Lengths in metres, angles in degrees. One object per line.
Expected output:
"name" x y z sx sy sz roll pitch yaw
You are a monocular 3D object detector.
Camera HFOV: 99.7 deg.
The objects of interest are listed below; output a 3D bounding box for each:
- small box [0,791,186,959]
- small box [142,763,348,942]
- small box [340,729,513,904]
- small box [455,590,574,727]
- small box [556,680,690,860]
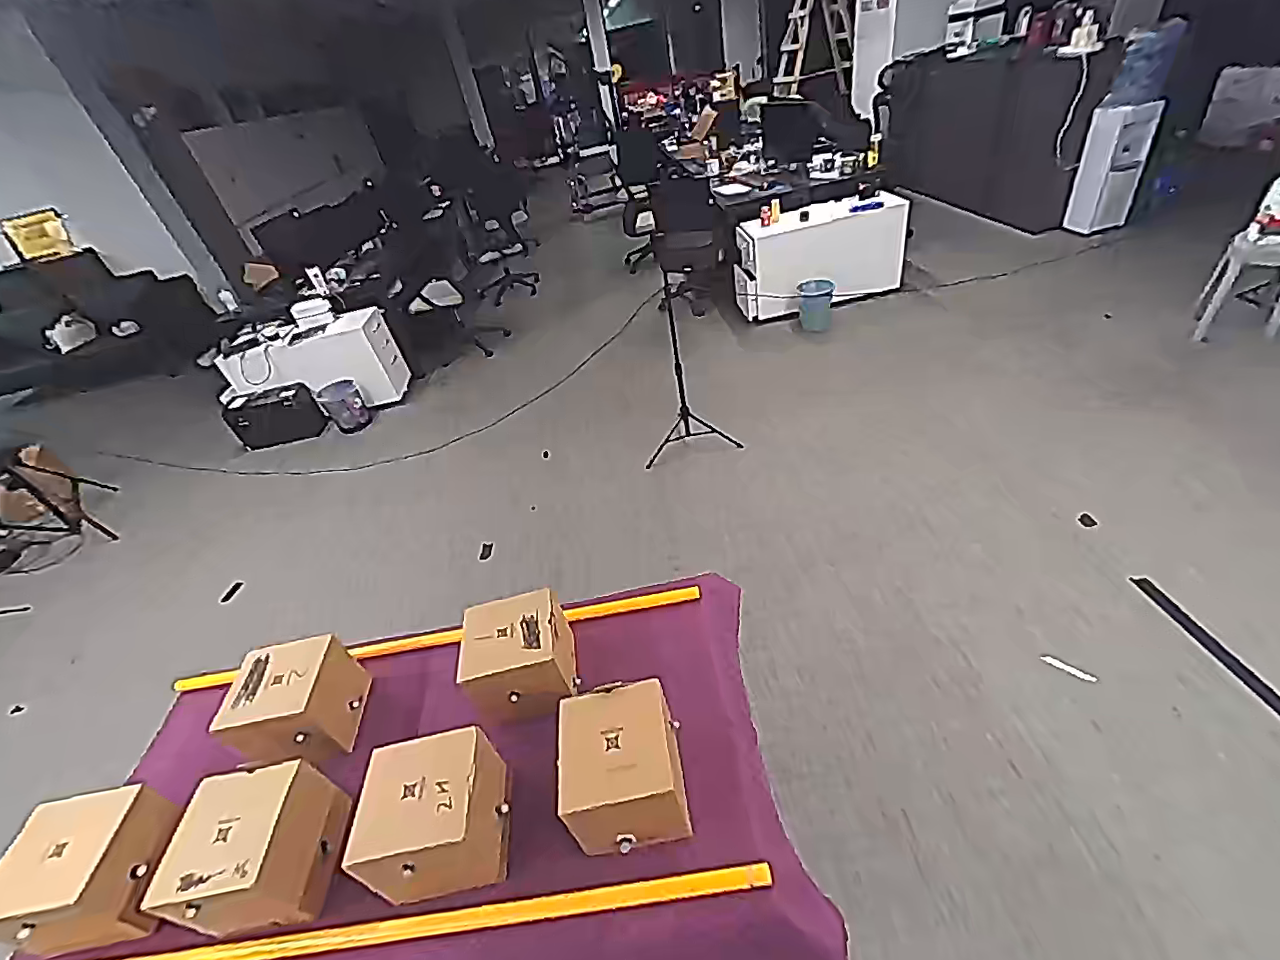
"small box" -0.870 0.634 0.868 0.179 0.176 0.168 -12 37 1
"small box" -0.595 0.582 0.848 0.168 0.176 0.179 -13 37 3
"small box" -0.315 0.522 0.836 0.179 0.176 0.168 -13 36 1
"small box" -0.229 0.343 1.036 0.179 0.176 0.168 -15 39 1
"small box" -0.026 0.448 0.840 0.168 0.176 0.179 -14 36 2
